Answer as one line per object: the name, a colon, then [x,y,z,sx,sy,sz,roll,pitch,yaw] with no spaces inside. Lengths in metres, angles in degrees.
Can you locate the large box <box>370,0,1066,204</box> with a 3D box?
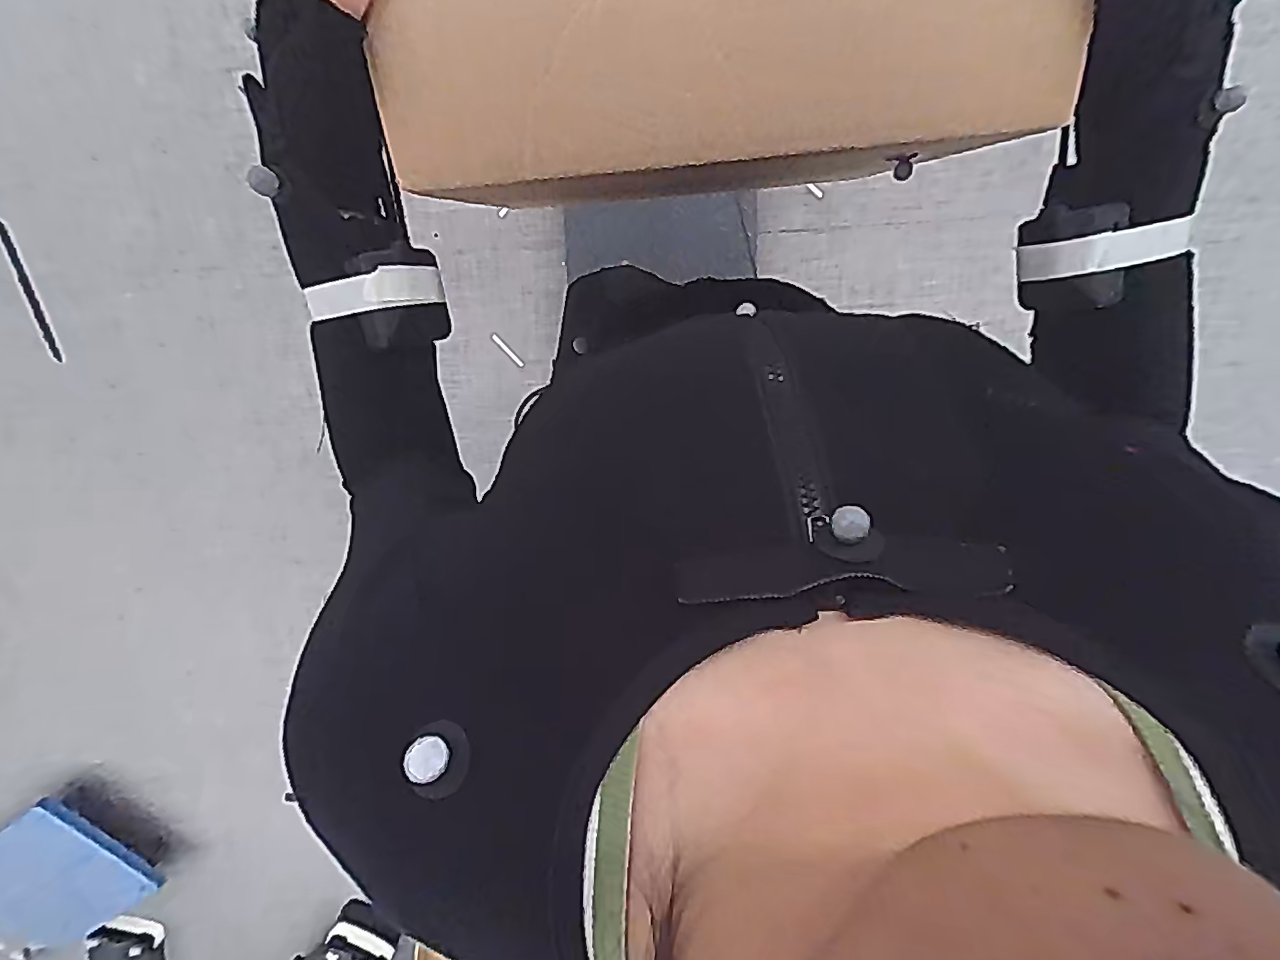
large box: [0.040,-0.404,0.412,0.408,0.320,0.320,-4,114,2]
